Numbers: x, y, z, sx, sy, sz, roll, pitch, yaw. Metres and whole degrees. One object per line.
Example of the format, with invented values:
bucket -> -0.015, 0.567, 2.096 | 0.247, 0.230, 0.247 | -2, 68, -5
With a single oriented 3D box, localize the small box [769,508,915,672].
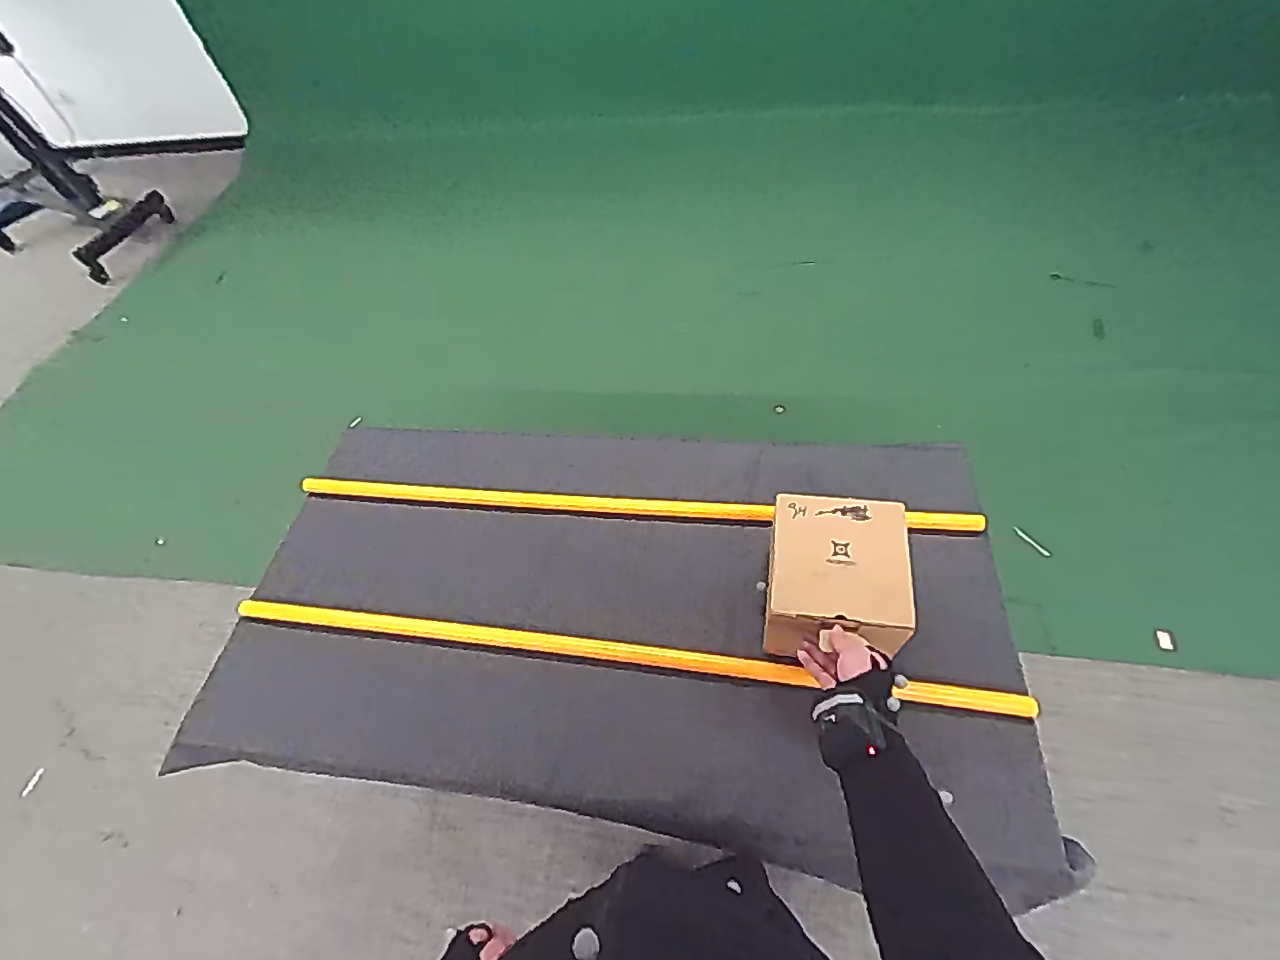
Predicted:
small box -> 0.267, 0.156, 0.752 | 0.168, 0.176, 0.179 | 1, 55, 13
